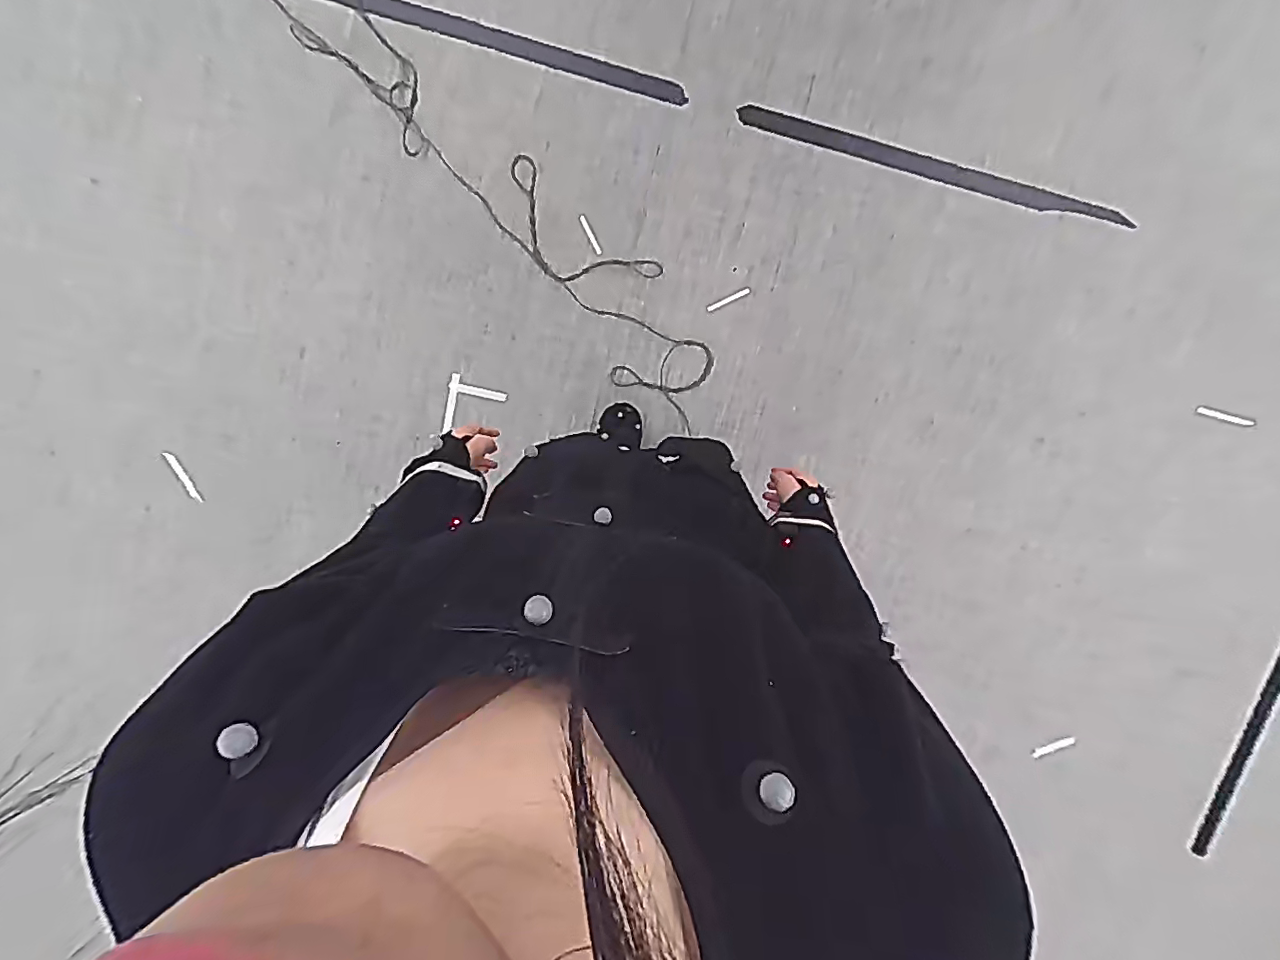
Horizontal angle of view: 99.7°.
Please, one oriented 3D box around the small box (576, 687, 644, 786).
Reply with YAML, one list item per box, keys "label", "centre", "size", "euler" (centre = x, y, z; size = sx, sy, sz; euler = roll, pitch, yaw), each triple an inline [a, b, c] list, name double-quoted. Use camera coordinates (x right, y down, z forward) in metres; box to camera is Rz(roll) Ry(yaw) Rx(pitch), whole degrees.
- label: "small box"
  centre: [-0.077, 0.696, 1.480]
  size: [0.168, 0.176, 0.179]
  euler: [6, 97, -1]
